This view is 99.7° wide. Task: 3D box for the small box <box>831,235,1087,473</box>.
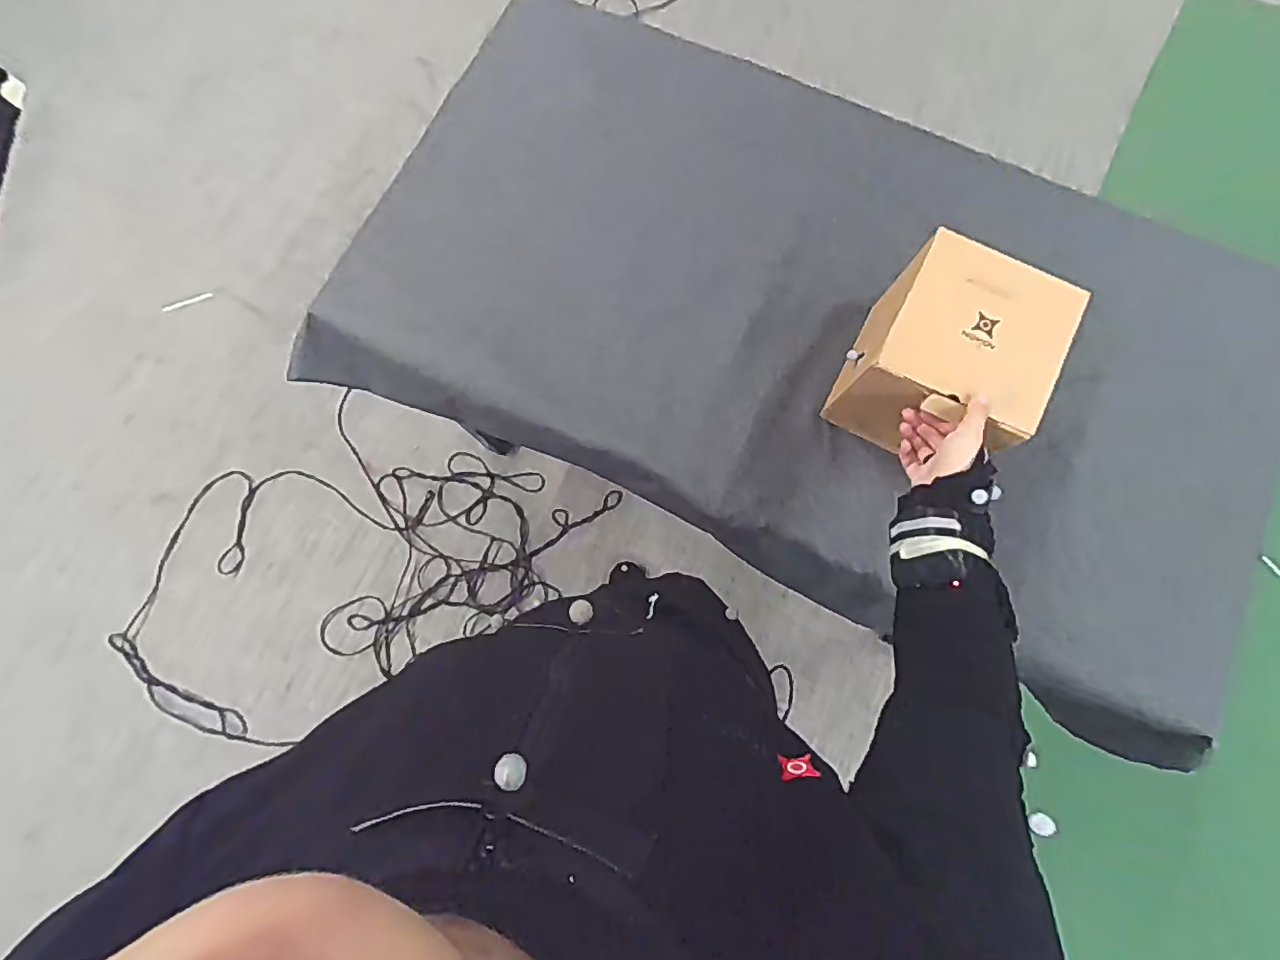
[{"bbox_3d":[0.340,-0.127,0.614,0.168,0.176,0.179,27,78,5],"label":"small box"}]
